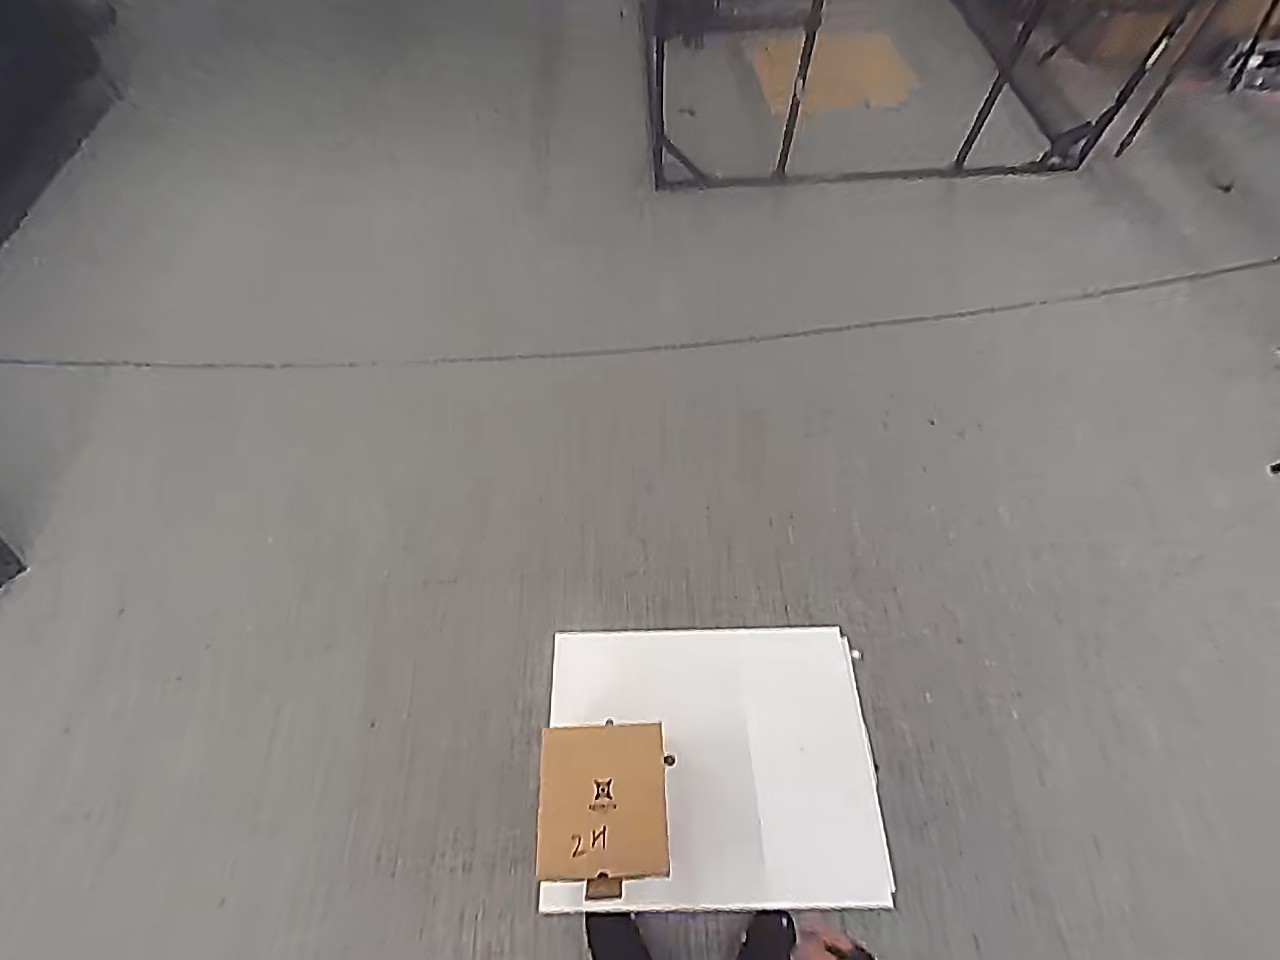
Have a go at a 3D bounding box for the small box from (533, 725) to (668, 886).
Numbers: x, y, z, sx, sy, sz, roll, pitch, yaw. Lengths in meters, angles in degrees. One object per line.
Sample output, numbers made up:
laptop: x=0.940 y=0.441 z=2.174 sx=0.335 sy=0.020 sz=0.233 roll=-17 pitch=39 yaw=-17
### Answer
small box: x=-0.049 y=0.451 z=0.759 sx=0.168 sy=0.176 sz=0.179 roll=-2 pitch=61 yaw=0
